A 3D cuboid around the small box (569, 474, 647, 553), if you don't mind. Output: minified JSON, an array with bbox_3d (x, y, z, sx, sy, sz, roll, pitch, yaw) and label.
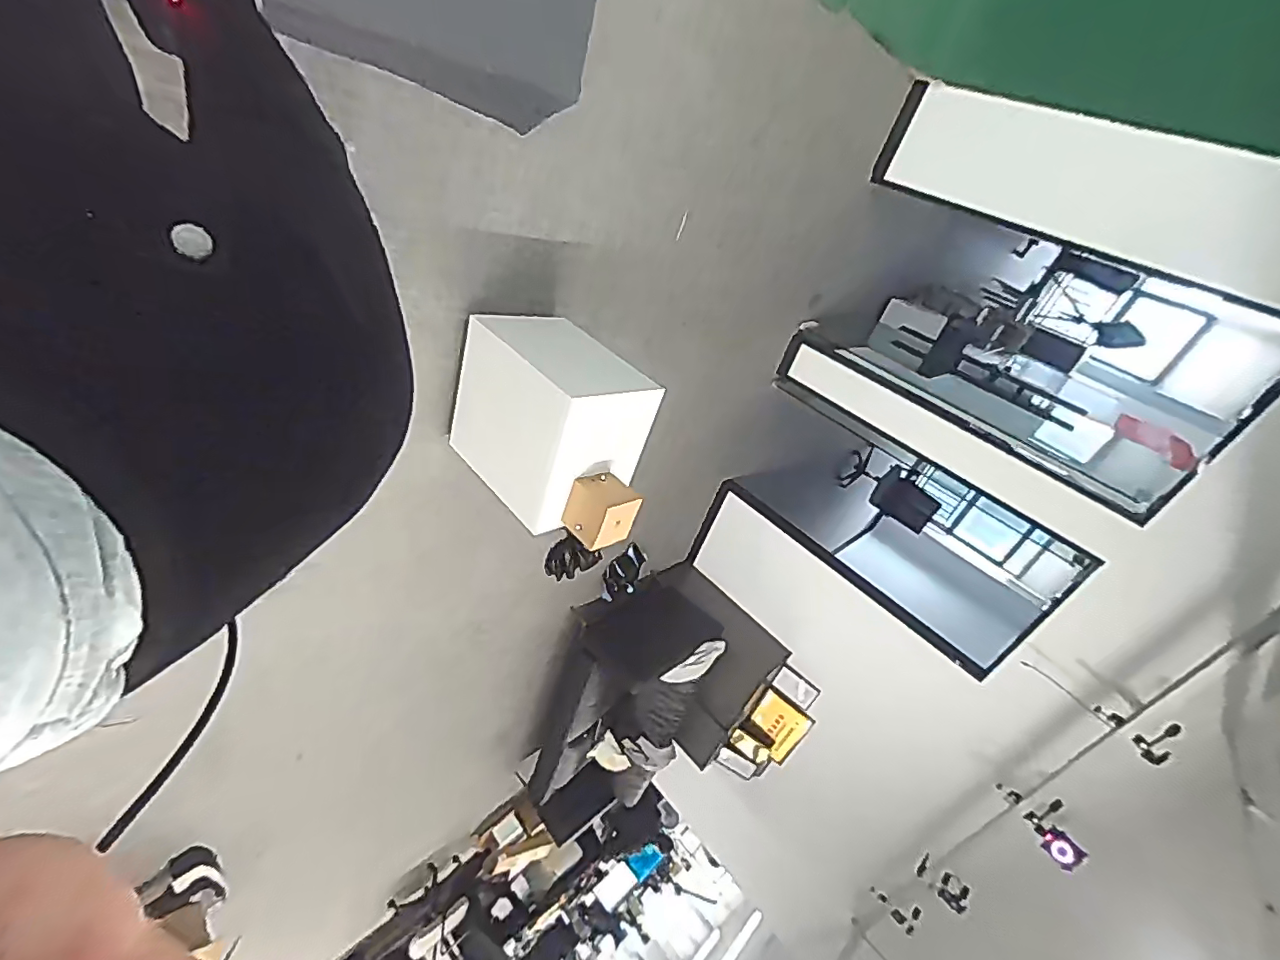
[{"bbox_3d":[-0.109,0.104,1.767,0.168,0.176,0.179,-16,135,-47],"label":"small box"}]
